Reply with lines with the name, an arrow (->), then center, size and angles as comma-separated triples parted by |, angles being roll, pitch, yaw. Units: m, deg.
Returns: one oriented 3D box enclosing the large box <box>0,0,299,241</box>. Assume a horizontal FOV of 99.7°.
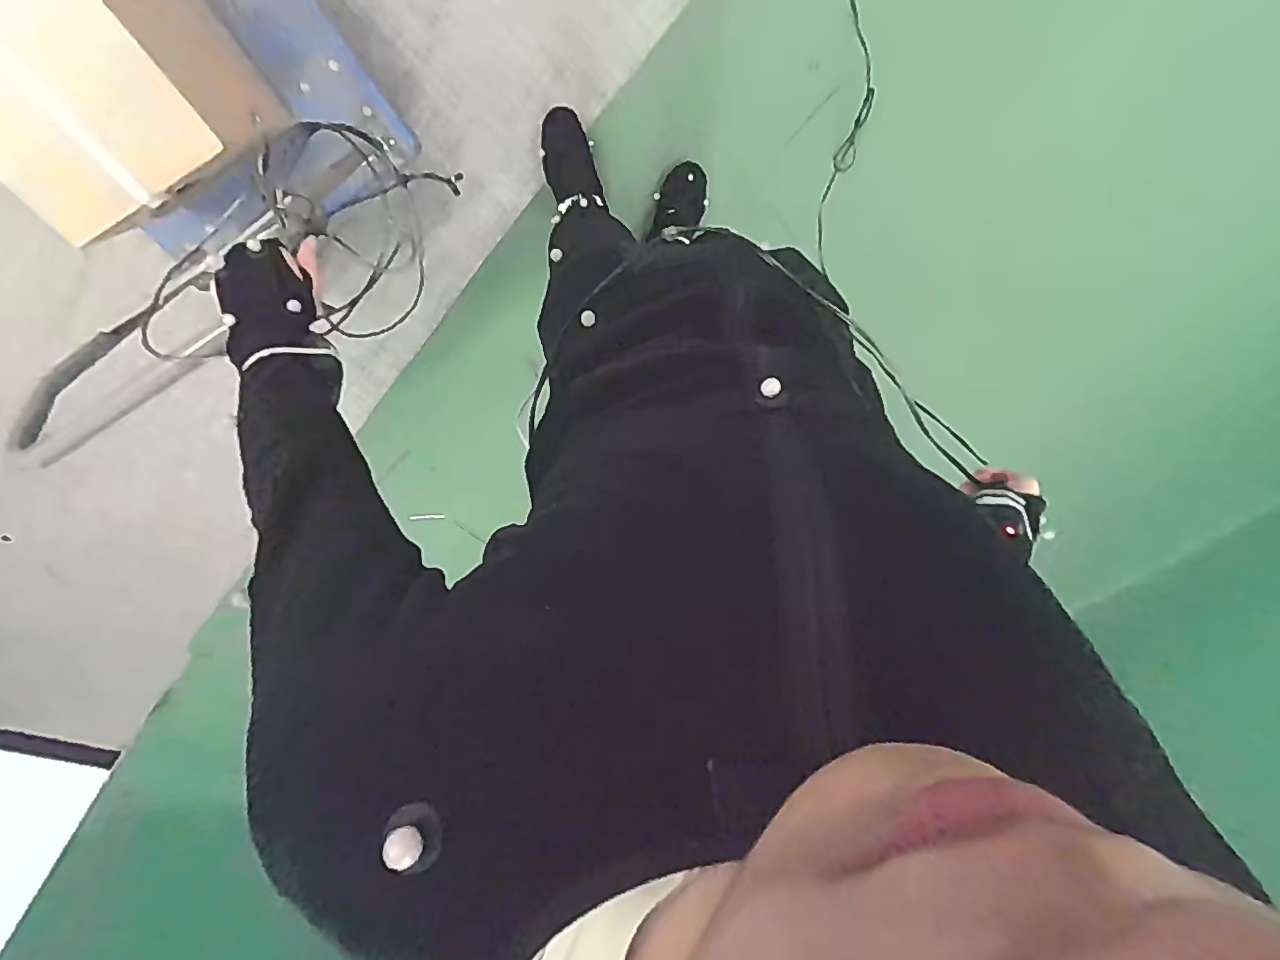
large box -> -0.838, -0.653, 0.813 | 0.320, 0.320, 0.408 | -24, 127, 9
